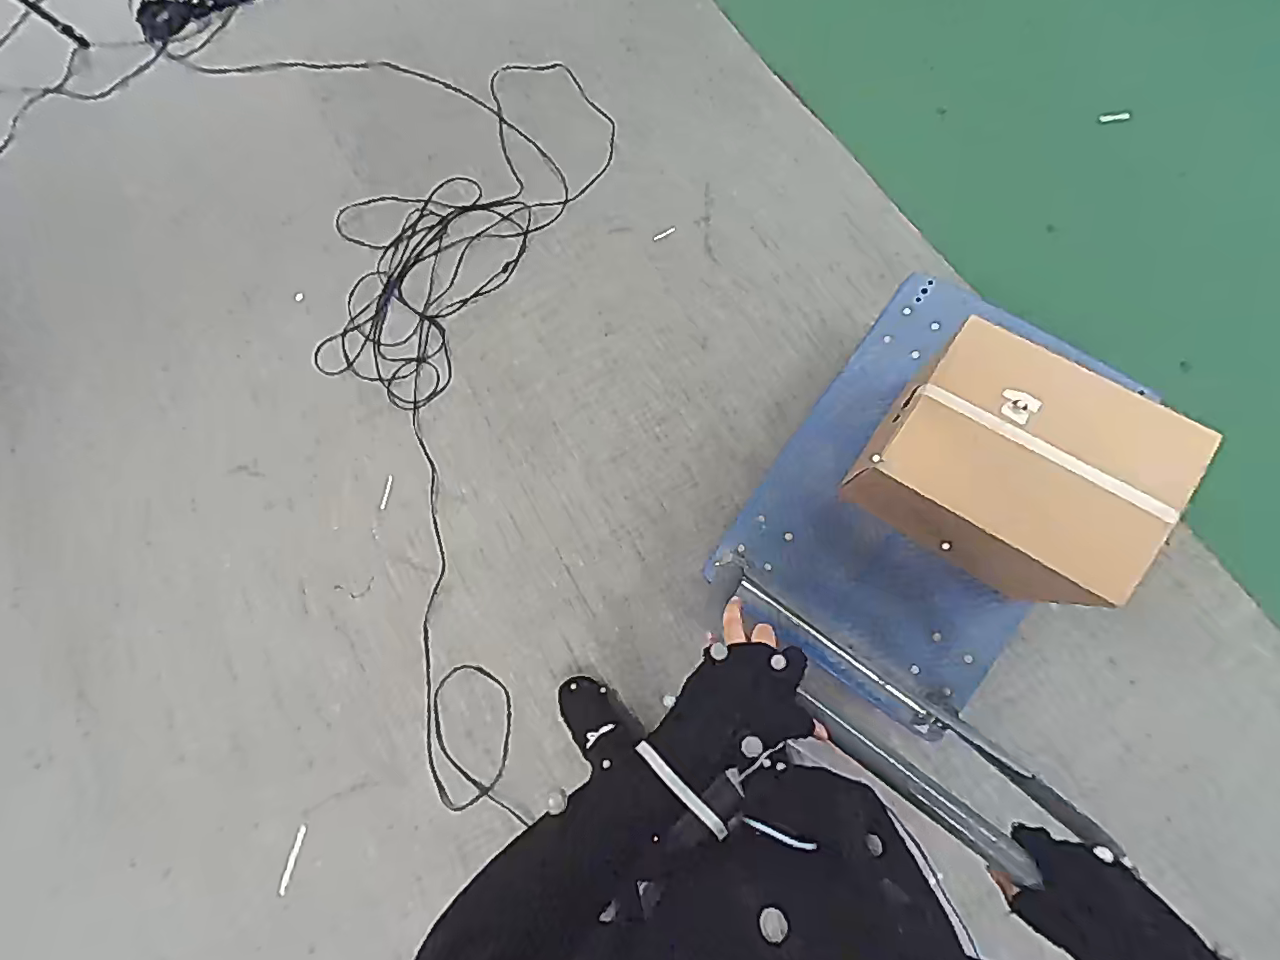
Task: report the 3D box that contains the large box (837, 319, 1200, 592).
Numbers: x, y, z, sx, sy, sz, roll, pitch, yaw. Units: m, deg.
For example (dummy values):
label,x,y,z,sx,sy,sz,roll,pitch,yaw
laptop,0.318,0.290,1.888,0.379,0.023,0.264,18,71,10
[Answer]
label,x,y,z,sx,sy,sz,roll,pitch,yaw
large box,0.652,-0.029,1.018,0.408,0.320,0.320,32,87,13
